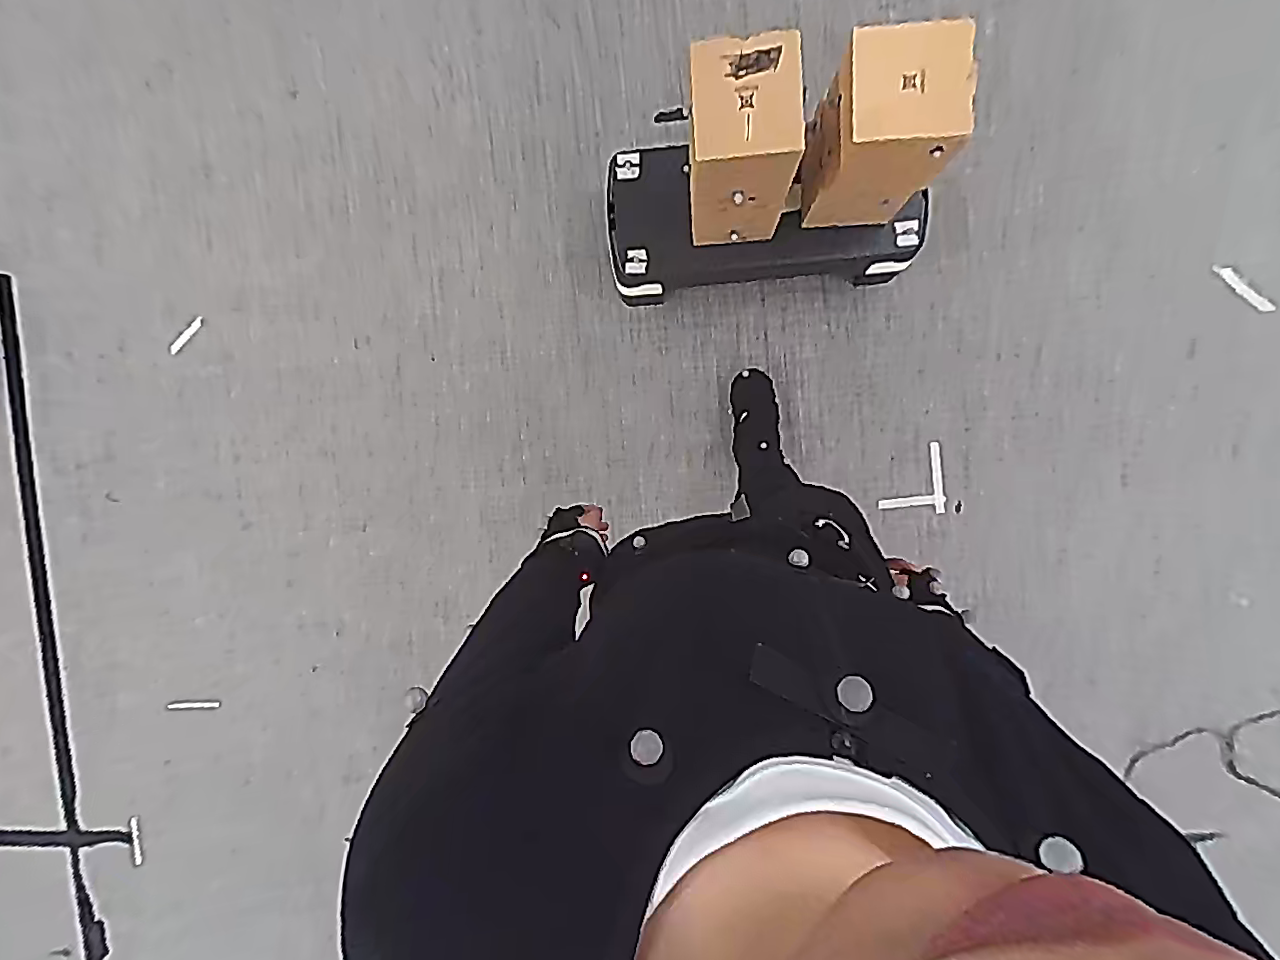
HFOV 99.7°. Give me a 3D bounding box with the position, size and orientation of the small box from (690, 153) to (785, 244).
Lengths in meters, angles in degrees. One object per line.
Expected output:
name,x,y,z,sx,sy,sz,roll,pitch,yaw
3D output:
small box,0.183,-0.582,1.050,0.168,0.176,0.179,-2,93,5

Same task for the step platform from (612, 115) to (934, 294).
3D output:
step platform,0.278,-0.614,1.215,0.684,0.204,0.286,-4,92,5

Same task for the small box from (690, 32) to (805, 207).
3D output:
small box,0.167,-0.577,0.886,0.168,0.176,0.179,-3,94,5

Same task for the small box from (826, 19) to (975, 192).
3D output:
small box,0.404,-0.585,0.869,0.179,0.176,0.168,-1,93,4
